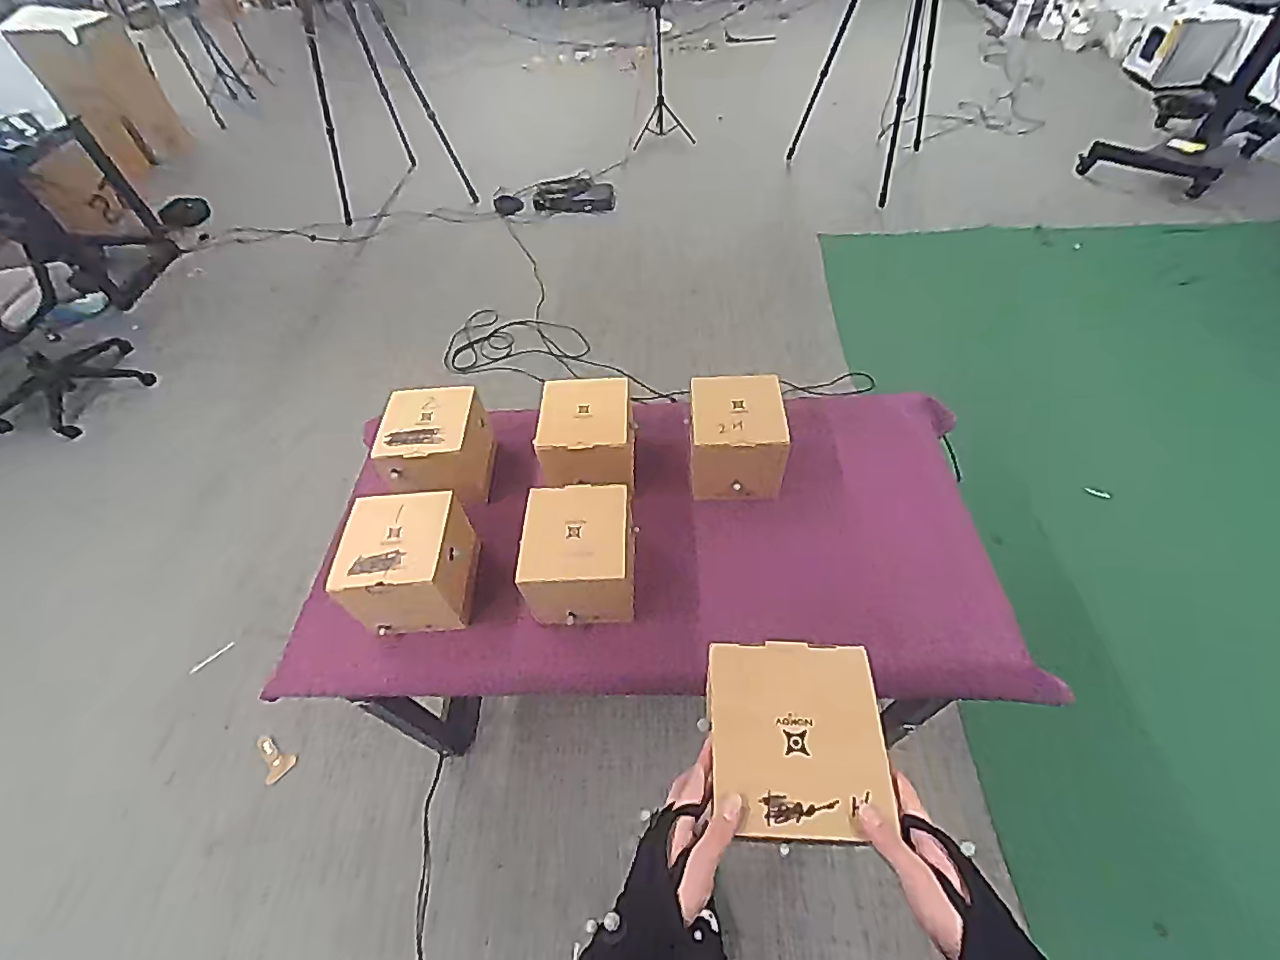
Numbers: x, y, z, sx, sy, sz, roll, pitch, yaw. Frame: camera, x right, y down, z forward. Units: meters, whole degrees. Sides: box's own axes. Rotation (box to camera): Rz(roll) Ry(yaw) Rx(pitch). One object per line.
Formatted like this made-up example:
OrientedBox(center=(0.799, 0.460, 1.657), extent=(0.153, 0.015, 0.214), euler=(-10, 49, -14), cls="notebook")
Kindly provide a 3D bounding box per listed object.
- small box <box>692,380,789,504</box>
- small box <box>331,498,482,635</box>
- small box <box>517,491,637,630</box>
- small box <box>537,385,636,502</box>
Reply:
OrientedBox(center=(0.184, -0.071, 1.045), extent=(0.168, 0.176, 0.179), euler=(-2, 53, 5), cls="small box")
OrientedBox(center=(-0.382, 0.154, 0.925), extent=(0.168, 0.176, 0.179), euler=(-4, 50, 2), cls="small box")
OrientedBox(center=(-0.095, 0.138, 0.915), extent=(0.168, 0.176, 0.179), euler=(-3, 53, 5), cls="small box")
OrientedBox(center=(-0.097, -0.067, 1.073), extent=(0.168, 0.176, 0.179), euler=(-2, 53, 4), cls="small box")
